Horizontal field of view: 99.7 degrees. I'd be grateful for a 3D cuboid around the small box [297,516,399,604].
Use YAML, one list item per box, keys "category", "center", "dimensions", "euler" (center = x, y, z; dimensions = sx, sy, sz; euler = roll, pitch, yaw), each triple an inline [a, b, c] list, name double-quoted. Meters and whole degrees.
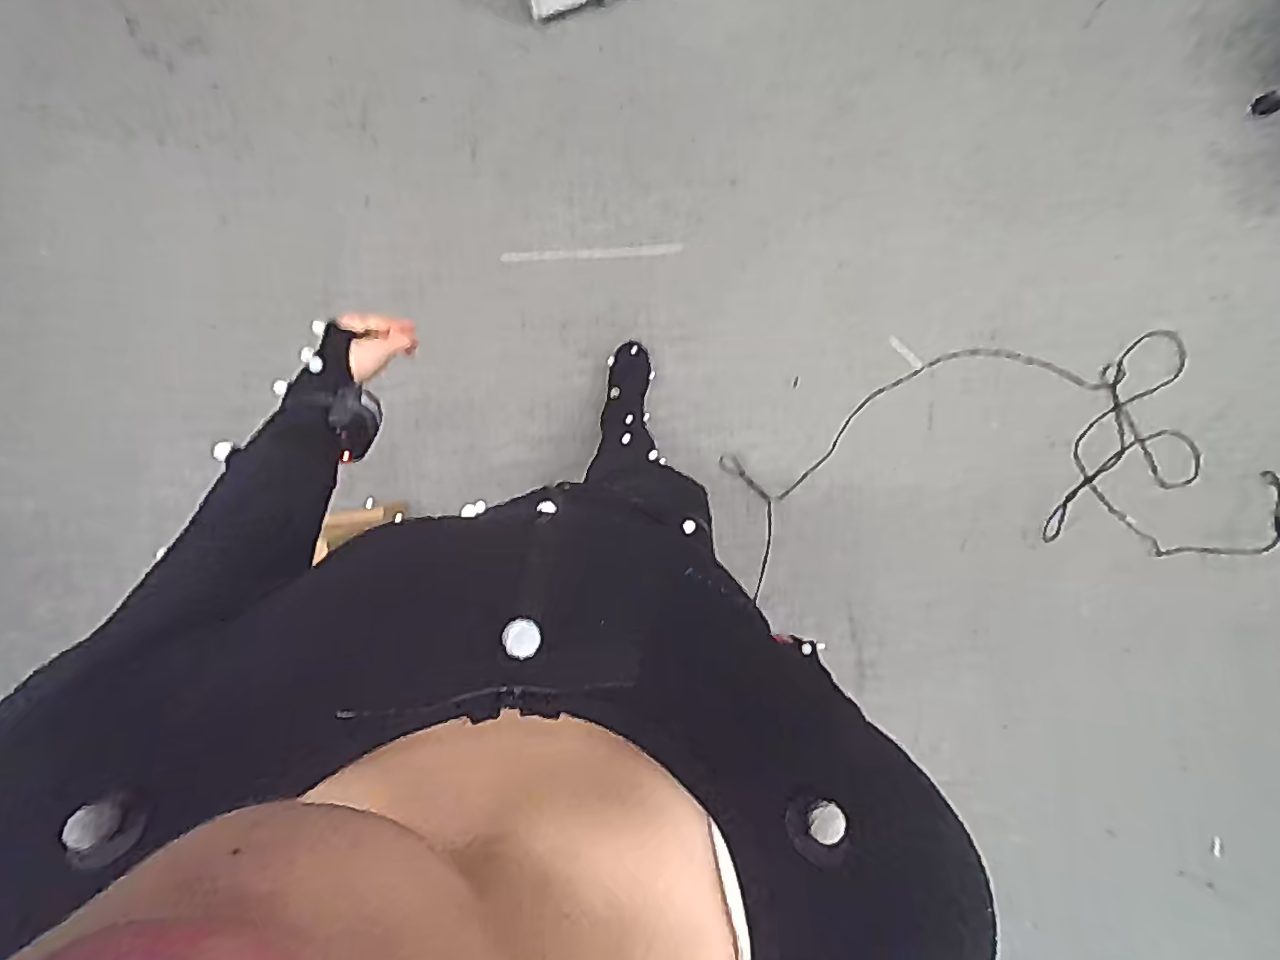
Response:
- category: "small box"
  center: [-0.663, 0.180, 1.202]
  dimensions: [0.179, 0.176, 0.168]
  euler: [-6, 96, -5]
